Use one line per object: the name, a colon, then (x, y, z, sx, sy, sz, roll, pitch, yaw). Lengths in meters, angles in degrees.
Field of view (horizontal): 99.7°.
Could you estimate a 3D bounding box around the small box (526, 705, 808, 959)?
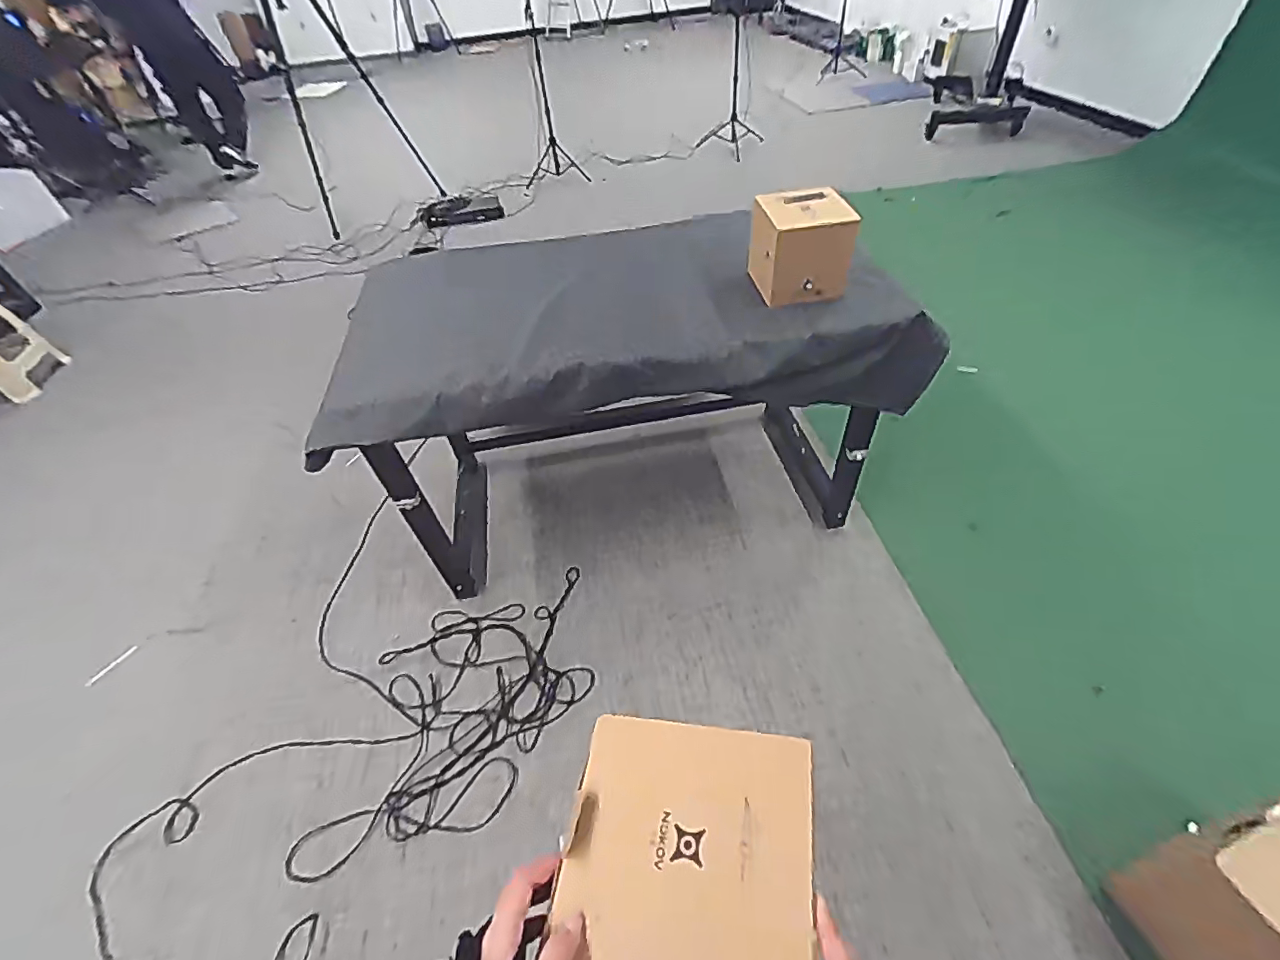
small box: (0.040, 0.302, 0.429, 0.179, 0.176, 0.168, 0, 46, 16)
